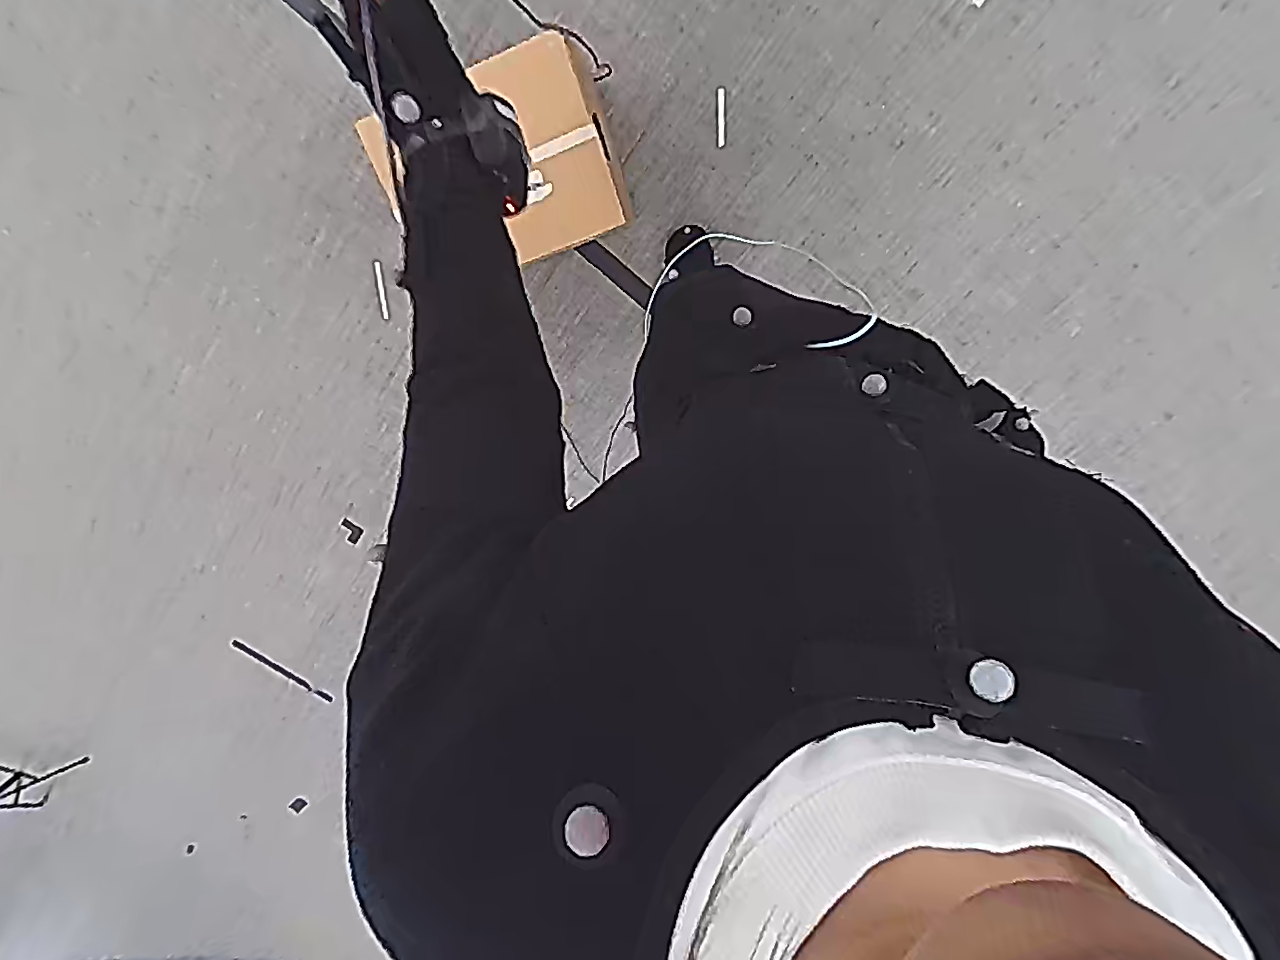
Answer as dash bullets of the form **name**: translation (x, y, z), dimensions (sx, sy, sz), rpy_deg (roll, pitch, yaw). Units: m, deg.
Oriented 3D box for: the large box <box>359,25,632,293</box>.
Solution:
- **large box**: translation (-0.259, -0.618, 1.109), dimensions (0.408, 0.320, 0.320), rpy_deg (-16, 114, 11)
